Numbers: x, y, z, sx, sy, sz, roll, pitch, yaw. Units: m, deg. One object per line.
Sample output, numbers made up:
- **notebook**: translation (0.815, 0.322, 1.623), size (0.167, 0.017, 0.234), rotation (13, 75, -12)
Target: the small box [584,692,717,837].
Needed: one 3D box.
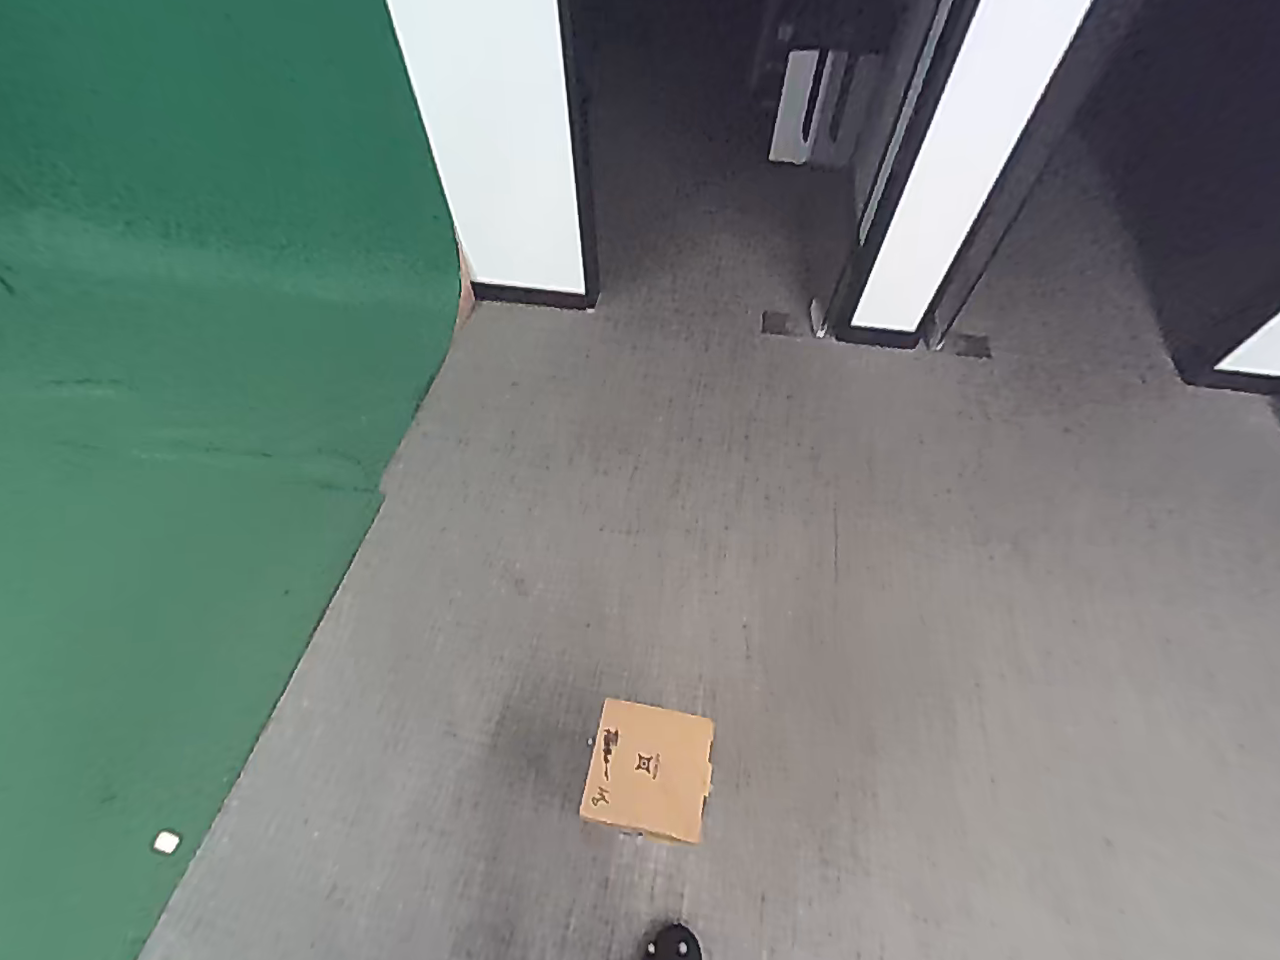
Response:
- **small box**: translation (0.020, 0.462, 0.877), size (0.179, 0.176, 0.168), rotation (9, 57, 7)
